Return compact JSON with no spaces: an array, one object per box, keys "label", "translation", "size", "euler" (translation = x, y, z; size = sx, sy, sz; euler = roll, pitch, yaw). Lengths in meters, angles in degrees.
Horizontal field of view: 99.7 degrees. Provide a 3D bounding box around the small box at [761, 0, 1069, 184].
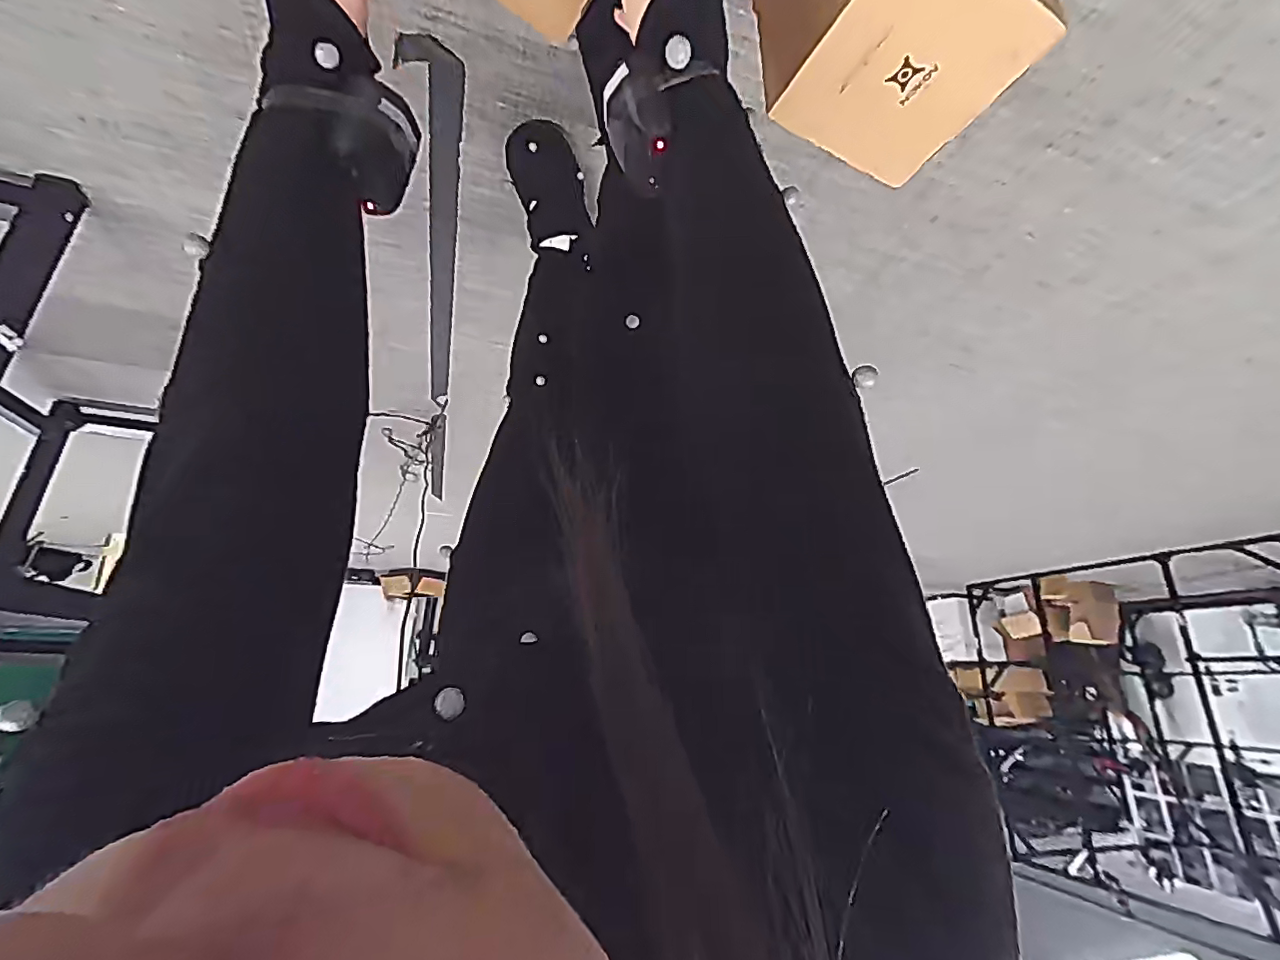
[{"label":"small box","translation":[0.228,-0.416,0.479],"size":[0.179,0.176,0.168],"euler":[11,158,-25]}]
